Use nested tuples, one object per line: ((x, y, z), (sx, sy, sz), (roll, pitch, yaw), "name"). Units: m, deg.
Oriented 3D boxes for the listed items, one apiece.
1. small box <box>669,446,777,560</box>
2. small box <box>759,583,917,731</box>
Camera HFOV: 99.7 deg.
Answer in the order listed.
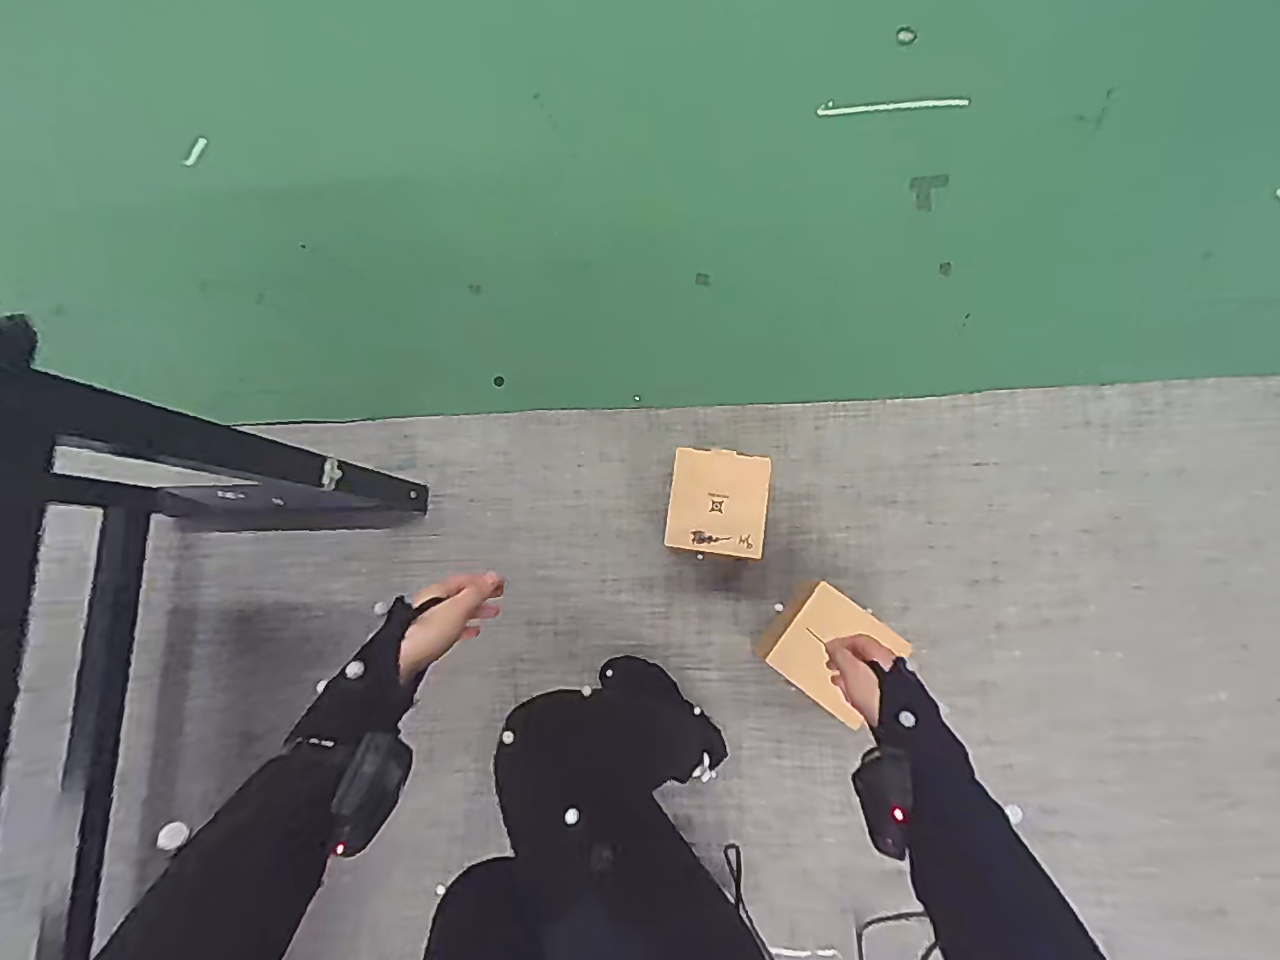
((0.145, 0.048, 0.989), (0.168, 0.176, 0.179), (8, 82, 5), "small box")
((0.329, 0.290, 0.937), (0.179, 0.176, 0.168), (37, 86, 10), "small box")
